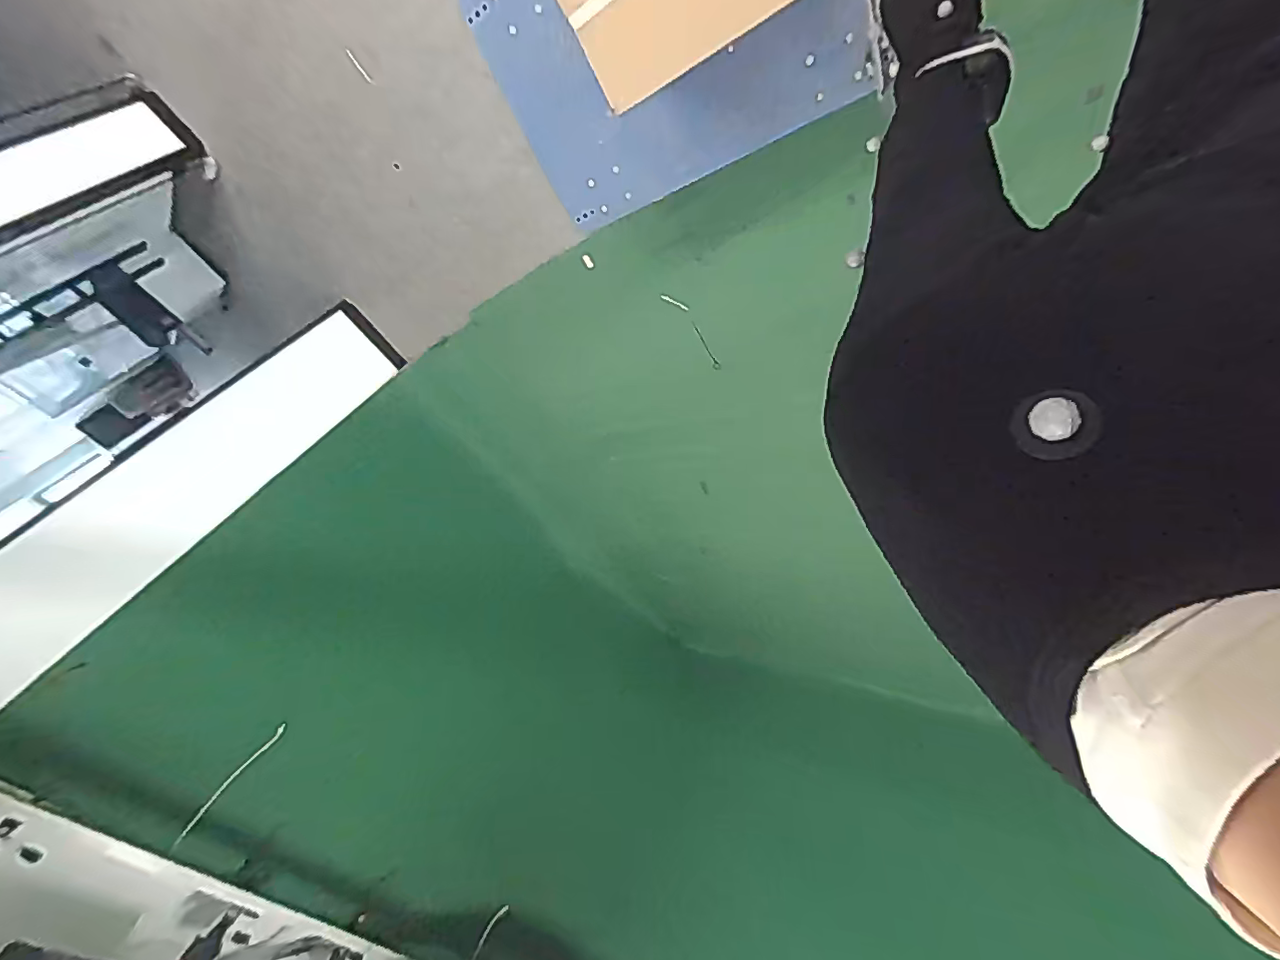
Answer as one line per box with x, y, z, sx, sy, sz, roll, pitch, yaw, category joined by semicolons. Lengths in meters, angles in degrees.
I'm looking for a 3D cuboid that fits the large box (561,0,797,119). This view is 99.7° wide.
0.093;-0.932;0.941;0.408;0.320;0.320;-12;127;34;large box
